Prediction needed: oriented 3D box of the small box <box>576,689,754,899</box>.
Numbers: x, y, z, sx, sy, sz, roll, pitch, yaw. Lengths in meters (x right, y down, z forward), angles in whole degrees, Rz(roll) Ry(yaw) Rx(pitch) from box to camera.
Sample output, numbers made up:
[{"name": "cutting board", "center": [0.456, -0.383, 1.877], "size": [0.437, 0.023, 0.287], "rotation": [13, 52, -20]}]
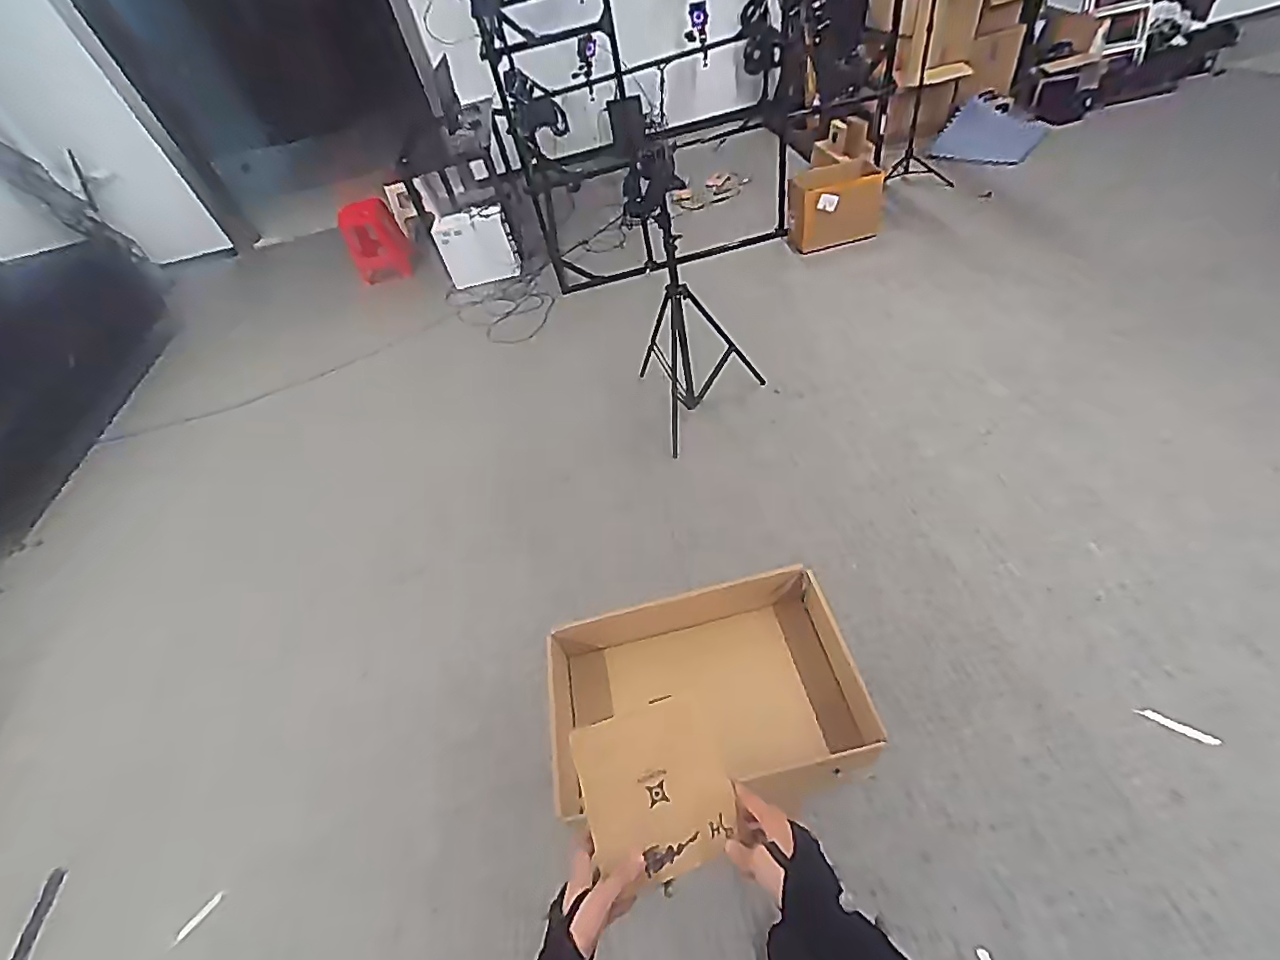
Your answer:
[{"name": "small box", "center": [0.025, 0.393, 0.683], "size": [0.168, 0.176, 0.179], "rotation": [-16, 57, -7]}]
